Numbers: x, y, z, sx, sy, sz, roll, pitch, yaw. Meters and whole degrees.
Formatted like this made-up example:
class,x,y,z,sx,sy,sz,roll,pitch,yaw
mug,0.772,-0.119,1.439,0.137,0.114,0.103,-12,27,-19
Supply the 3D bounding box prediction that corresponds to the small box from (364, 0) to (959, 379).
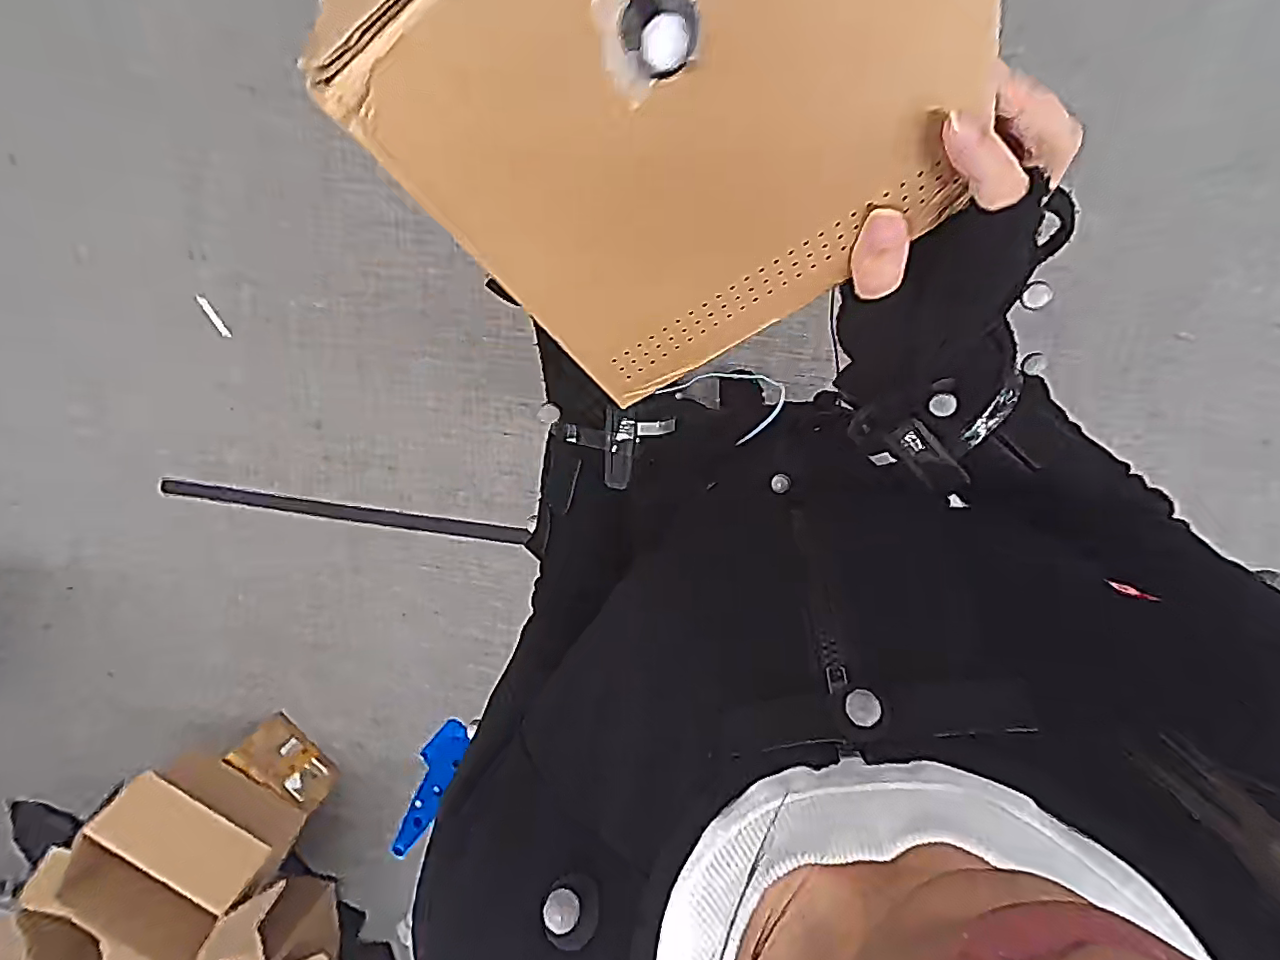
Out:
class,x,y,z,sx,sy,sz,roll,pitch,yaw
small box,0.014,-0.177,0.235,0.179,0.176,0.168,-28,57,15
